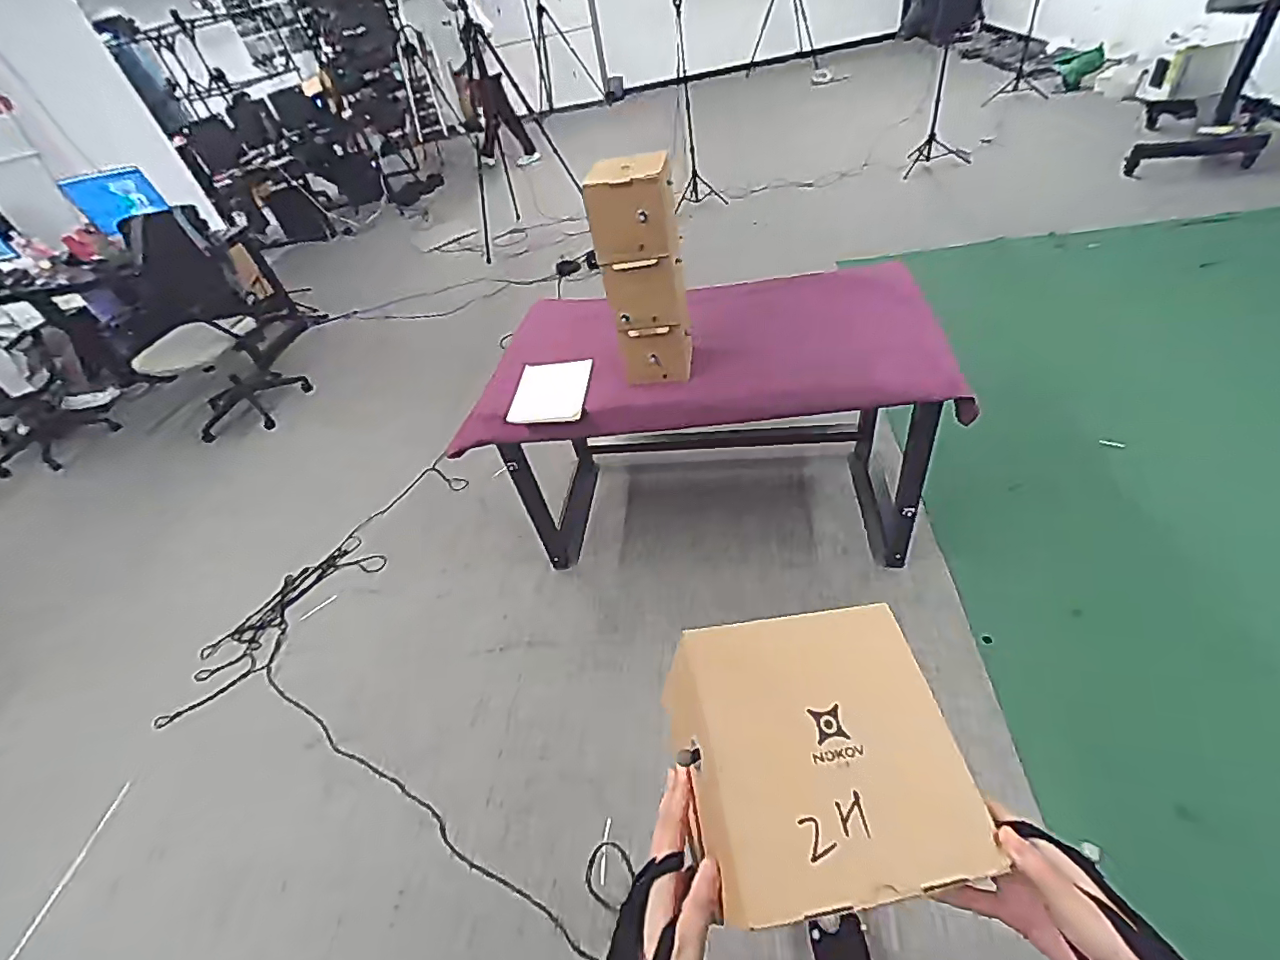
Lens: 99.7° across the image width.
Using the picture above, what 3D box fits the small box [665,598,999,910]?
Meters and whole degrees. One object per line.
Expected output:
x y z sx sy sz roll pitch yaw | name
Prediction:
0.119 0.216 0.427 0.168 0.176 0.179 -5 53 -8 | small box

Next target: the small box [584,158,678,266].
-0.010 -0.588 1.200 0.168 0.176 0.179 -1 43 12 | small box

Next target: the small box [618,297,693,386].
0.048 -0.360 1.430 0.168 0.176 0.179 -2 44 12 | small box

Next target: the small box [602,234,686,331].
0.018 -0.474 1.314 0.168 0.176 0.179 -2 43 12 | small box
